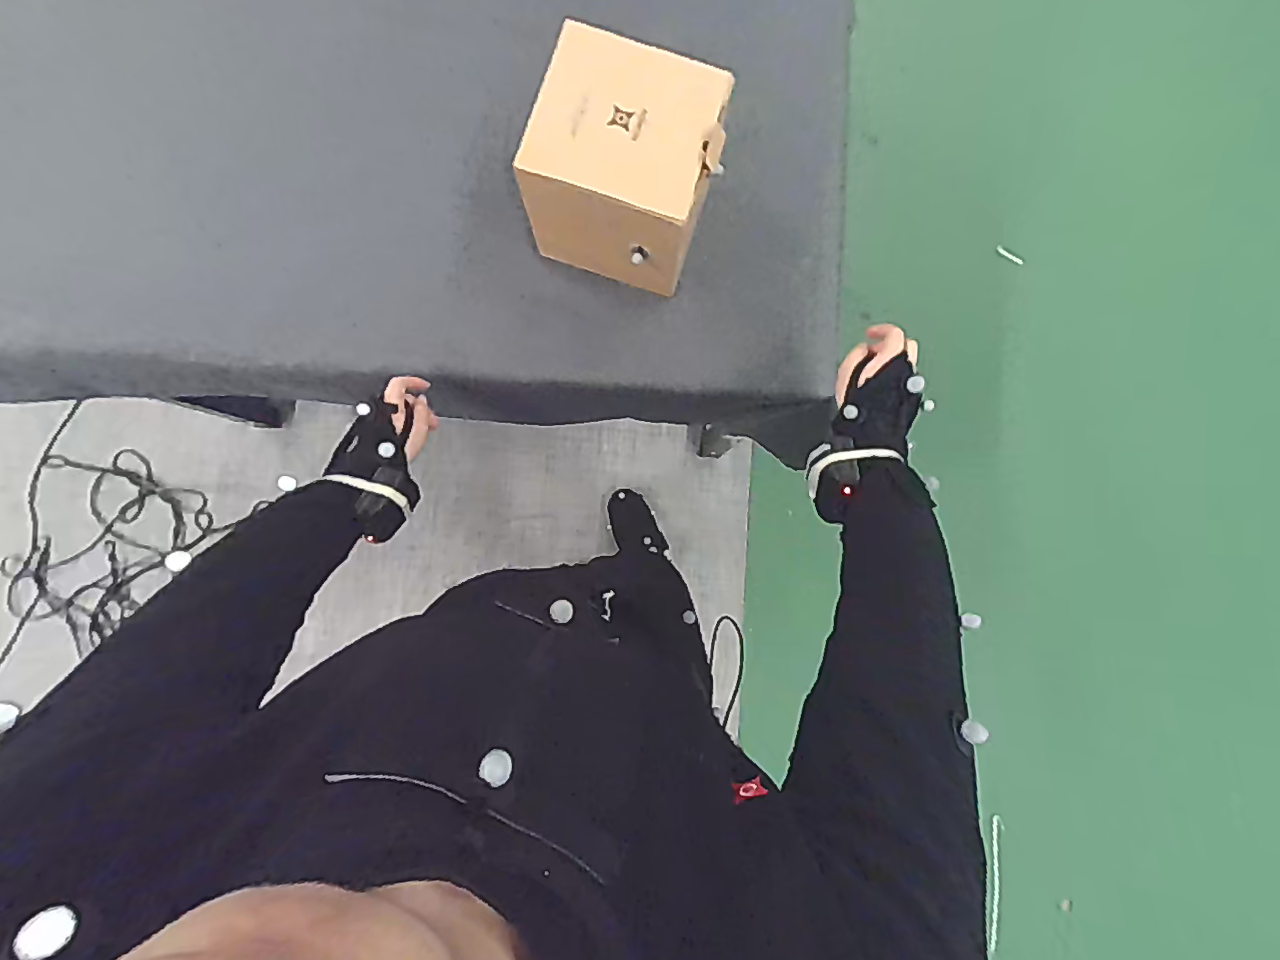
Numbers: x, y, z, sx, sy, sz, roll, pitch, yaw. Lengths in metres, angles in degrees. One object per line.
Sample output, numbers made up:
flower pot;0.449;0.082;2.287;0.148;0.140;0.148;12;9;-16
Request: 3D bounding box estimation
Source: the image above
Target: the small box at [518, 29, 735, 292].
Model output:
small box;-0.014;-0.335;0.604;0.179;0.176;0.168;17;83;1
